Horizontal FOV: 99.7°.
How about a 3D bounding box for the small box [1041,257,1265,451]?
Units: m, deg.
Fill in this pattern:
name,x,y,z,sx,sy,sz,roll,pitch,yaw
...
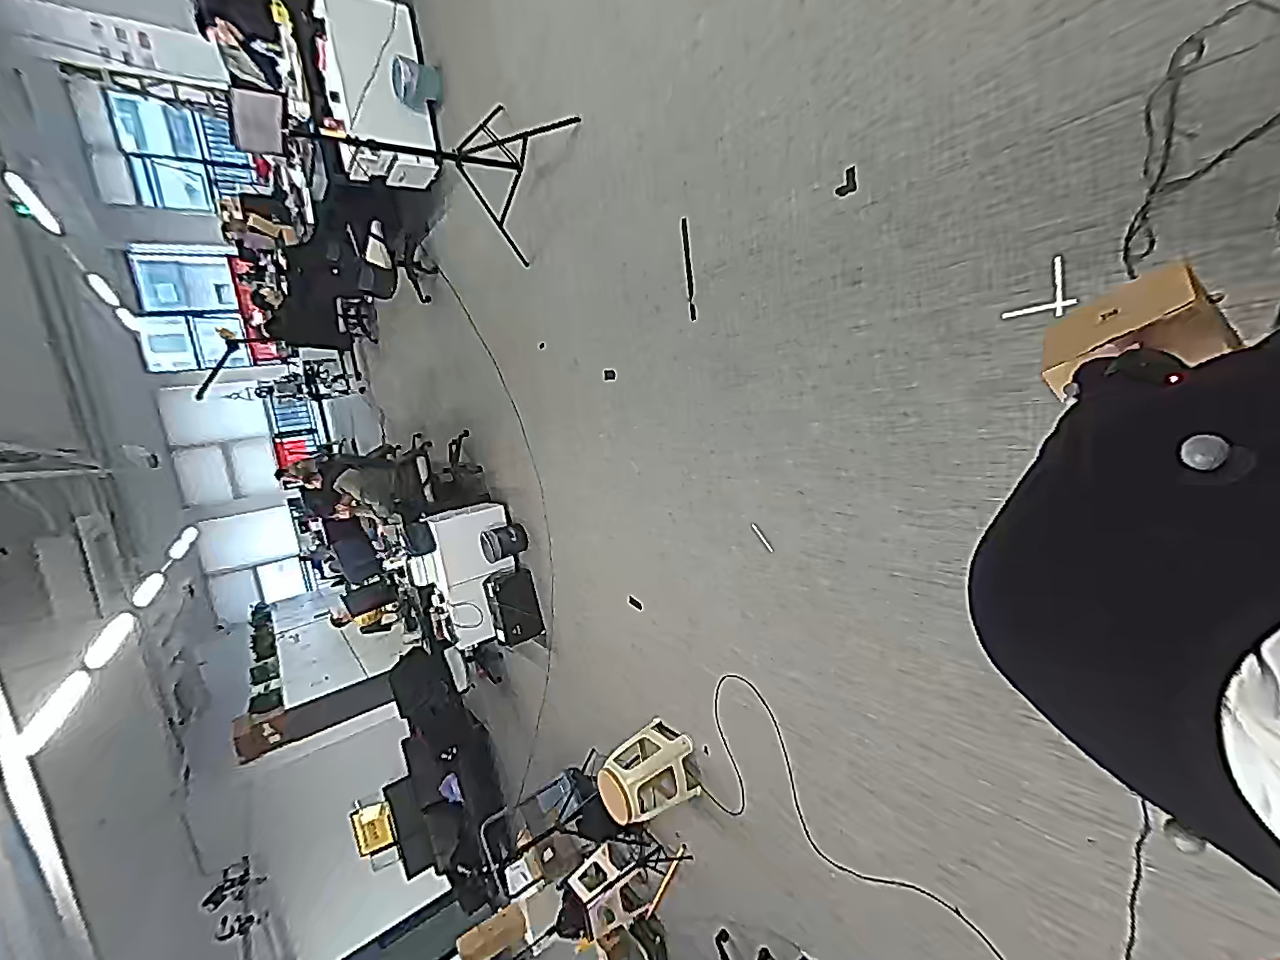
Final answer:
name,x,y,z,sx,sy,sz,roll,pitch,yaw
small box,0.692,-0.161,0.741,0.176,0.179,0.168,48,142,-6
